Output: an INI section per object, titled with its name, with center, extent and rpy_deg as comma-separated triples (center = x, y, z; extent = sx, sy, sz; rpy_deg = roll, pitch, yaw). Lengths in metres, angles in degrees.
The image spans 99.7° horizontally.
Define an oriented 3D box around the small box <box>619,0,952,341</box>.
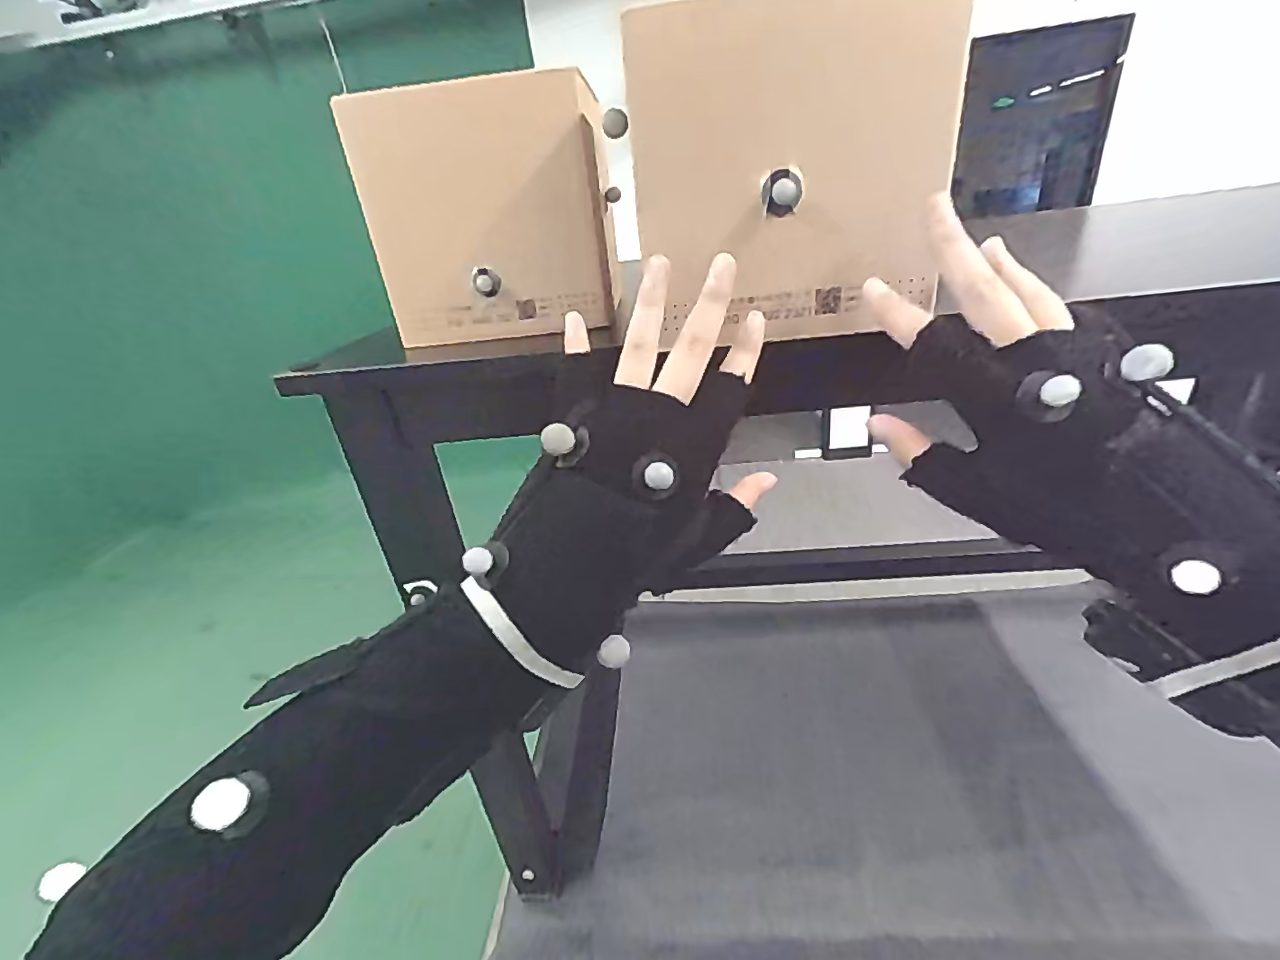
[small box]
center = 0.083, -0.195, 0.369
extent = 0.168, 0.176, 0.179
rpy_deg = -4, 26, 5
